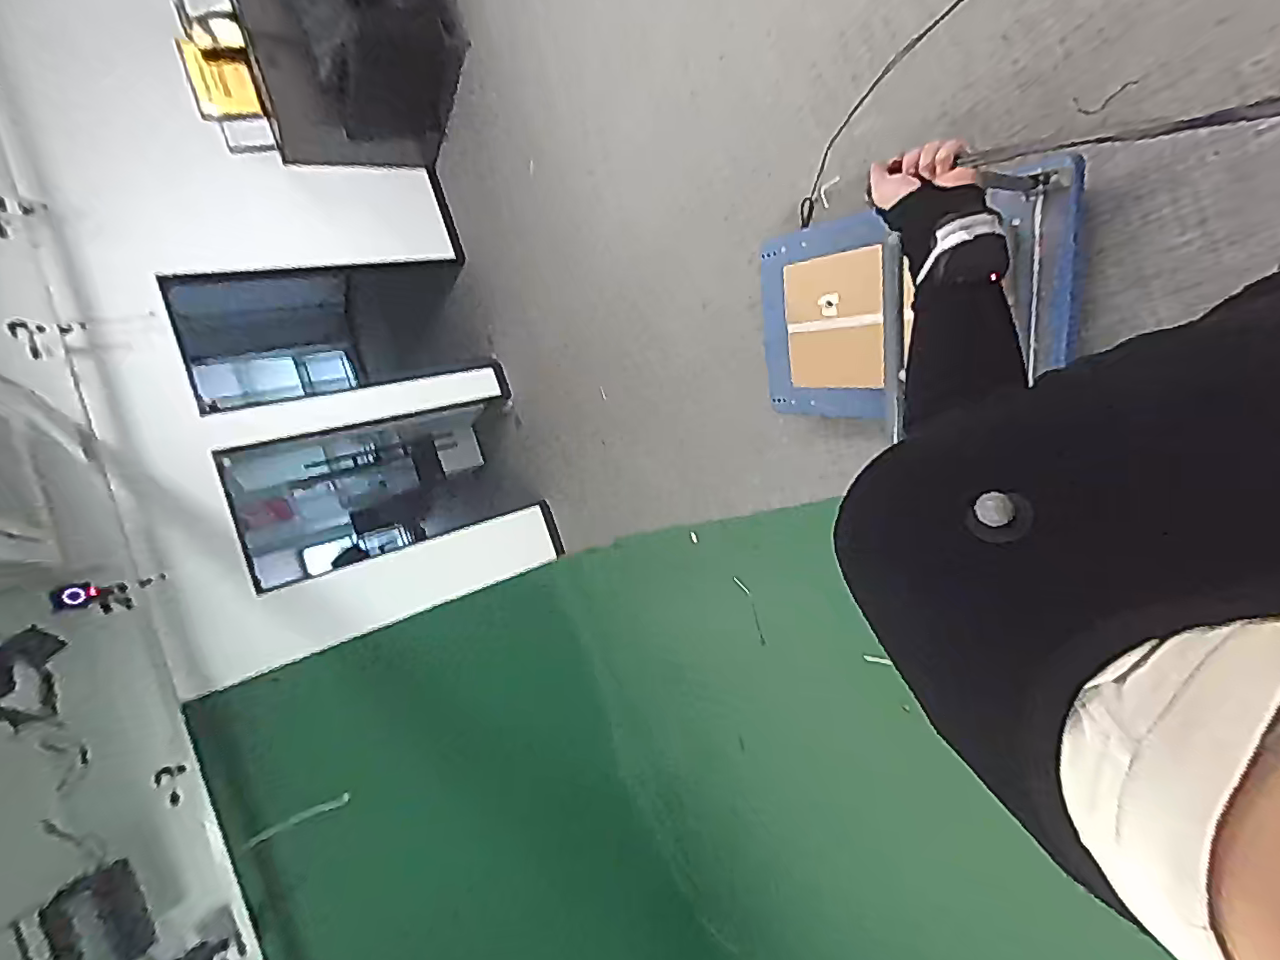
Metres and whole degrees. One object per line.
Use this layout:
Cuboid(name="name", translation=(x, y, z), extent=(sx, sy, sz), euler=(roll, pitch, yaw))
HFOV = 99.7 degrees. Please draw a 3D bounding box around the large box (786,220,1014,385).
Cuboid(name="large box", translation=(0.624, -0.416, 1.318), extent=(0.408, 0.320, 0.320), euler=(15, 117, 55))
